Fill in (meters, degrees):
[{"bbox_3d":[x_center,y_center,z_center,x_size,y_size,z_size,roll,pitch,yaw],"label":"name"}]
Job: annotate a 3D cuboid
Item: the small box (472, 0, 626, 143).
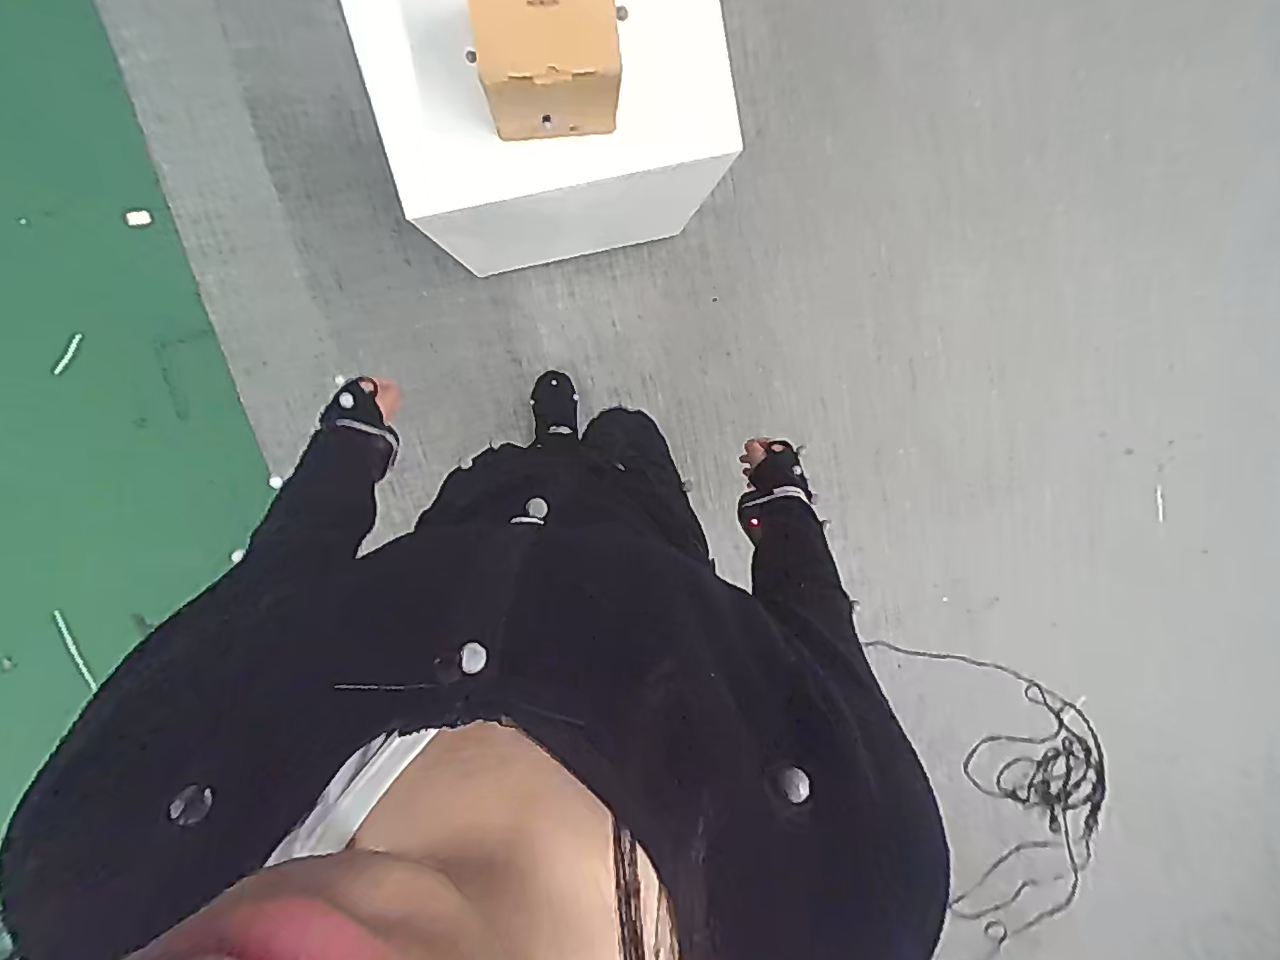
[{"bbox_3d":[-0.114,-0.556,0.676,0.168,0.176,0.179,-8,103,-4],"label":"small box"}]
